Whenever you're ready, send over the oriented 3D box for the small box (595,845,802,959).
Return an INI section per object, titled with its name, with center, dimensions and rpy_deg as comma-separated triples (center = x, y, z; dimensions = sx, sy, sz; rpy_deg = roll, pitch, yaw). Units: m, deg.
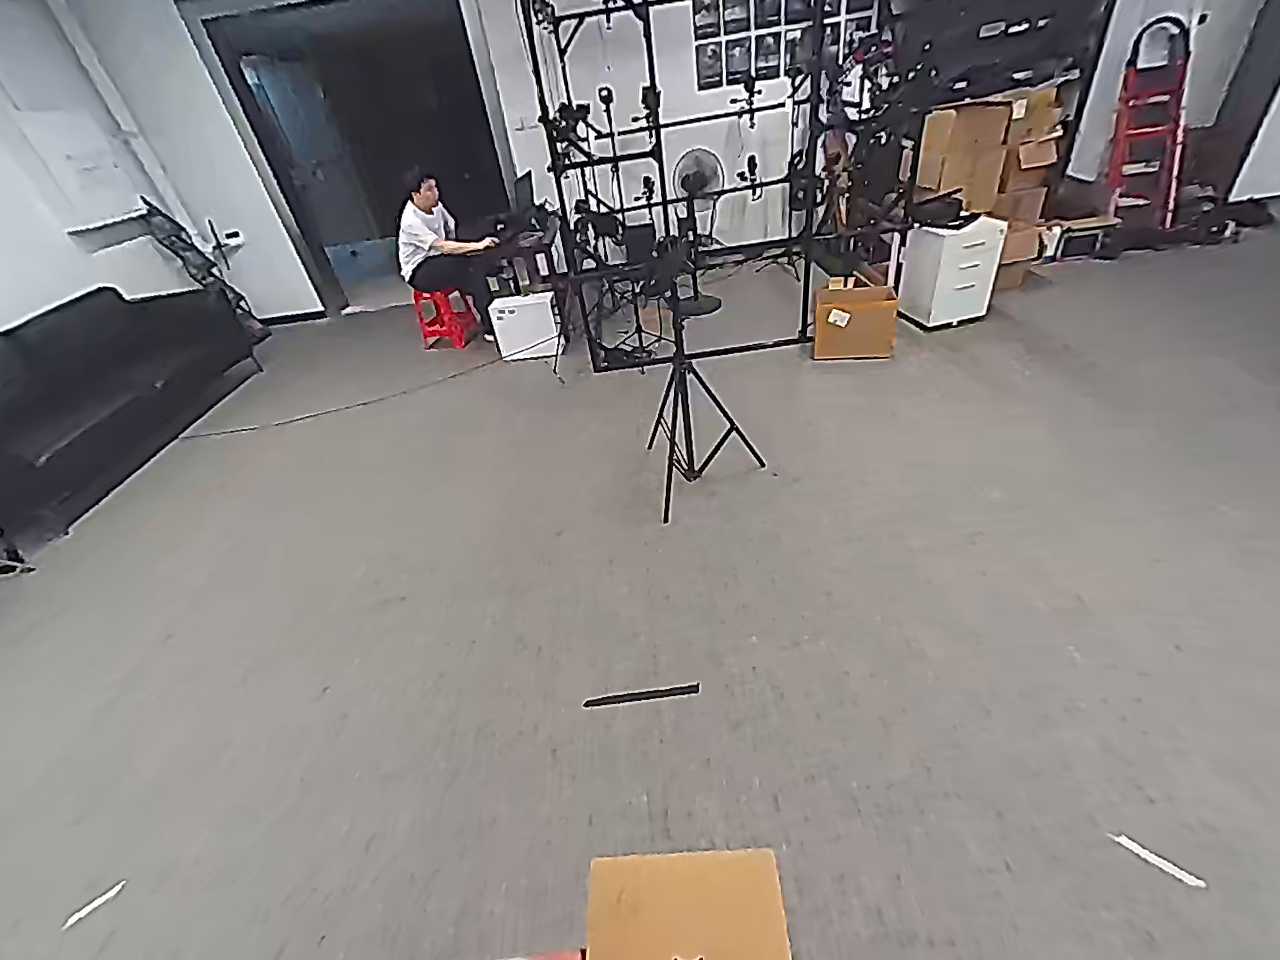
[small box]
center = 0.052, 0.441, 0.470
dimensions = 0.168, 0.176, 0.179
rpy_deg = -5, 46, 3
